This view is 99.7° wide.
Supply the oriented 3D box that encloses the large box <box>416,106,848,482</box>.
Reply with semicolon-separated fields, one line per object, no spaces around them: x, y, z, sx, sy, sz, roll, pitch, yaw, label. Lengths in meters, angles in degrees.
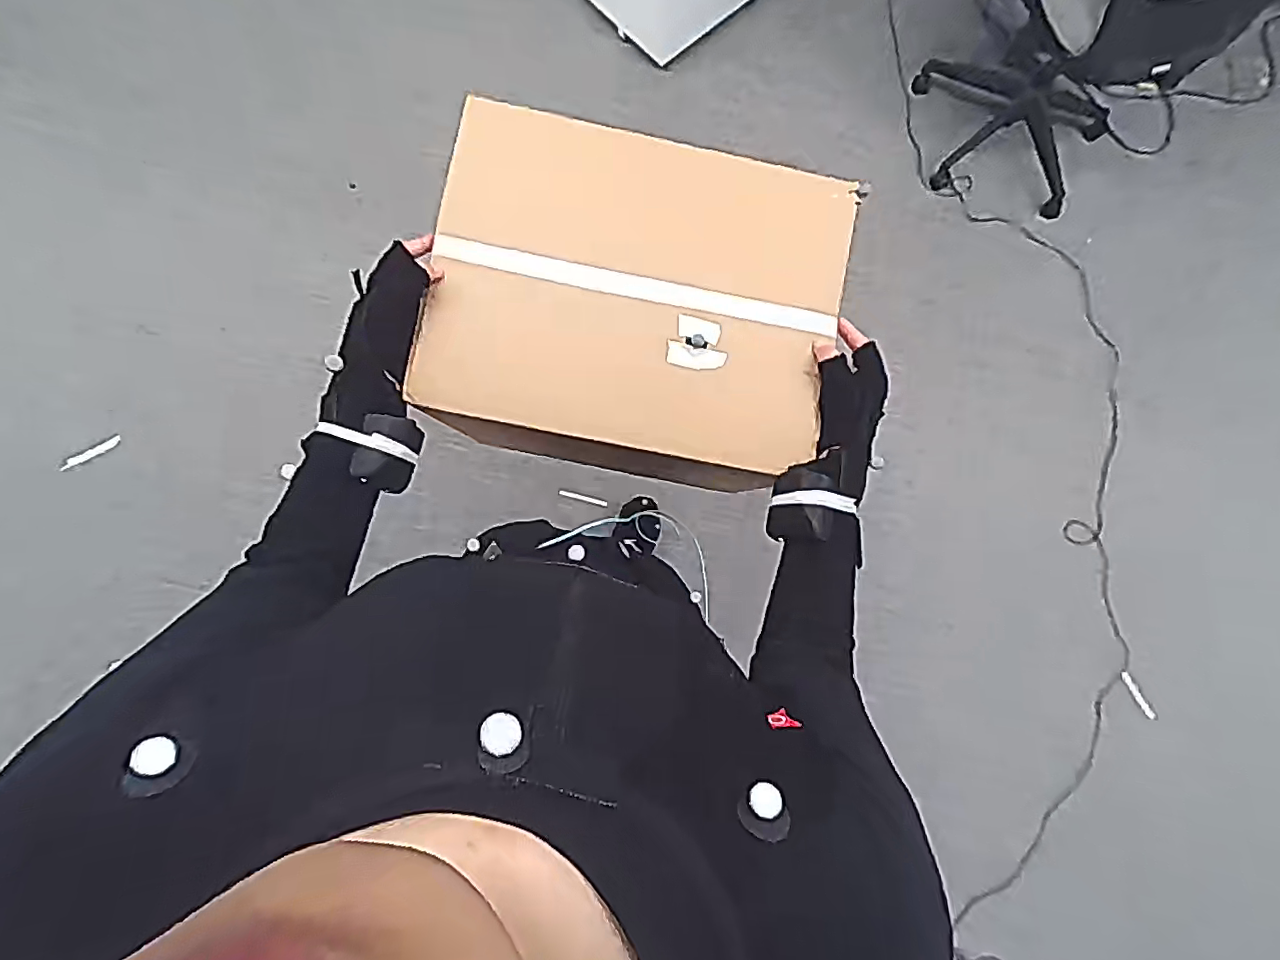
-0.013;-0.187;0.693;0.408;0.320;0.320;11;87;-4;large box
